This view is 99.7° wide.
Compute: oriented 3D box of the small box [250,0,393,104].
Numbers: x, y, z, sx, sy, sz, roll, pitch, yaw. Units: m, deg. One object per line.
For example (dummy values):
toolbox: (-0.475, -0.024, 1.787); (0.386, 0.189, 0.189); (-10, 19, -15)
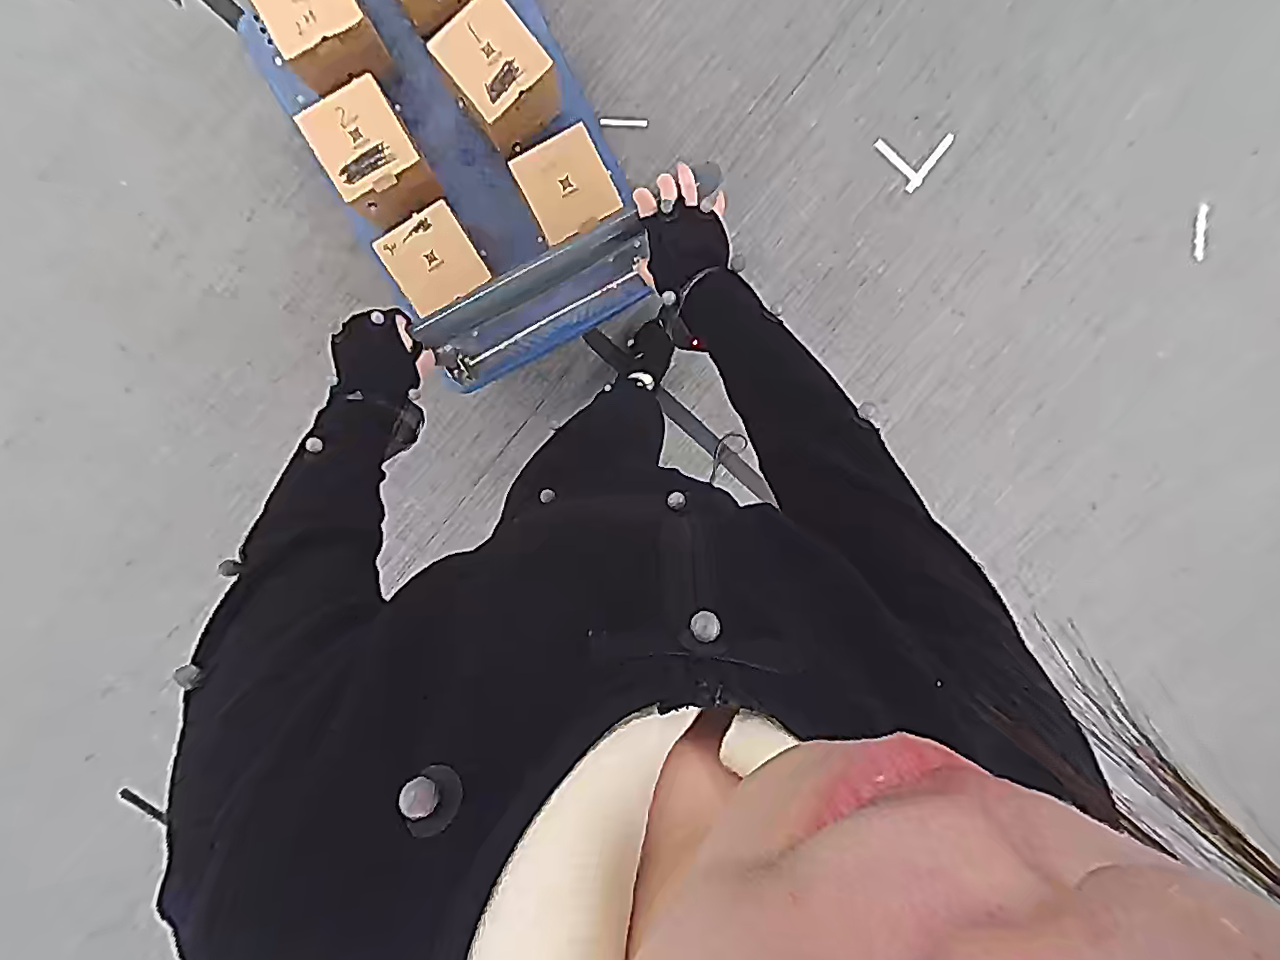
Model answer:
small box: (-0.616, -0.879, 1.038); (0.168, 0.176, 0.179); (-27, 100, 1)

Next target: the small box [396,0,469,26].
small box: (-0.431, -1.026, 1.030); (0.168, 0.176, 0.179); (-32, 100, 2)

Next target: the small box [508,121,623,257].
small box: (-0.148, -0.587, 1.123); (0.168, 0.176, 0.179); (-29, 100, 0)

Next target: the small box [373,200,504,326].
small box: (-0.405, -0.436, 1.125); (0.168, 0.176, 0.179); (-33, 100, 0)

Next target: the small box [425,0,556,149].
small box: (-0.284, -0.800, 1.077); (0.168, 0.176, 0.179); (-41, 99, 3)
